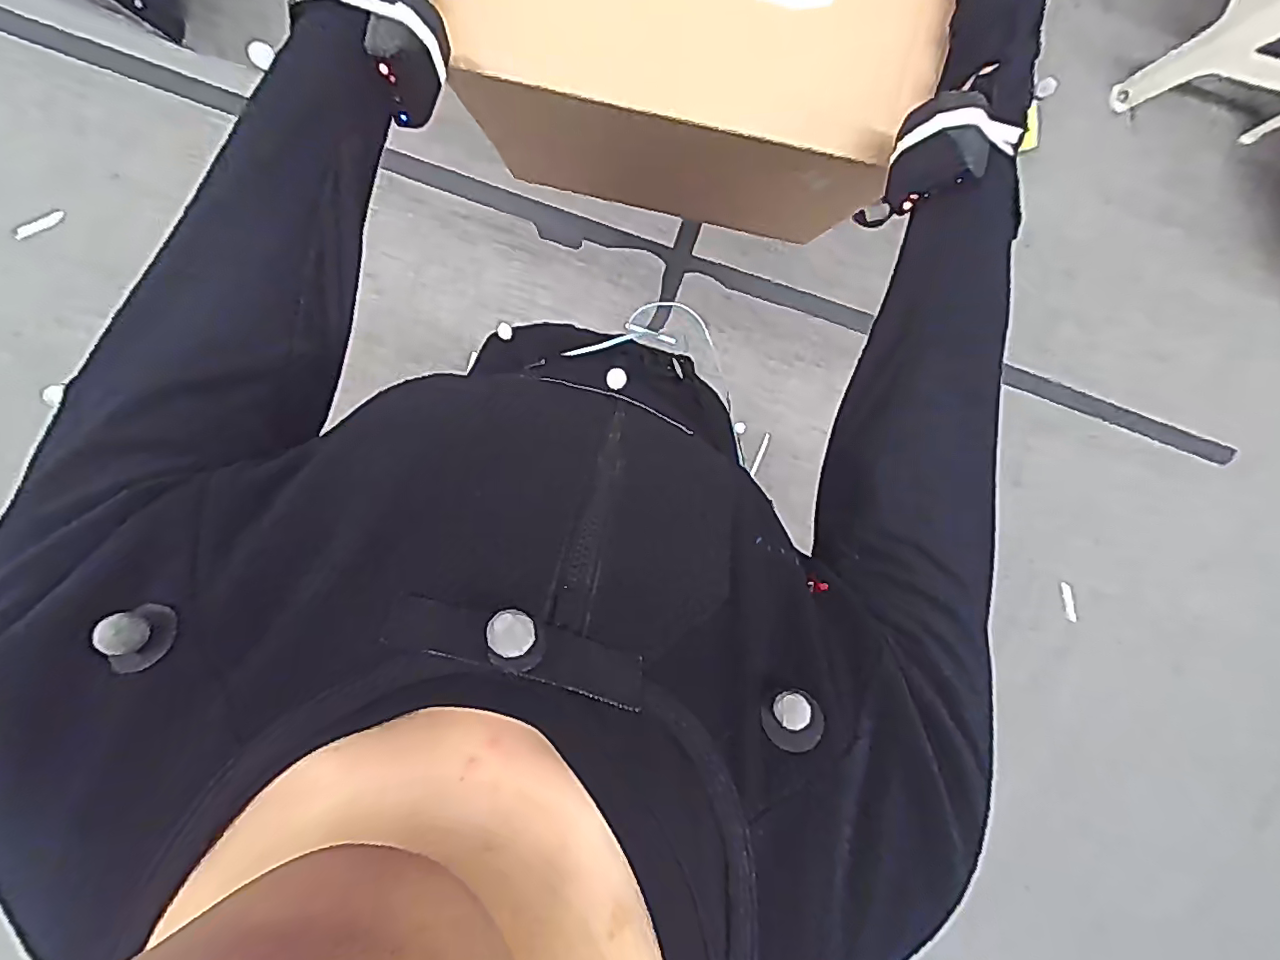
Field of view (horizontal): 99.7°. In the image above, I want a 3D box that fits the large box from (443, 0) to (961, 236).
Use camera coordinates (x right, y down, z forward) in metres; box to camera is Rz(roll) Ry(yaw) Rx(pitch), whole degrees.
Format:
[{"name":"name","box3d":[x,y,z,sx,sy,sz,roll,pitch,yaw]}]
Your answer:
[{"name":"large box","box3d":[0.061,-0.477,0.550,0.408,0.320,0.320,11,104,-4]}]
